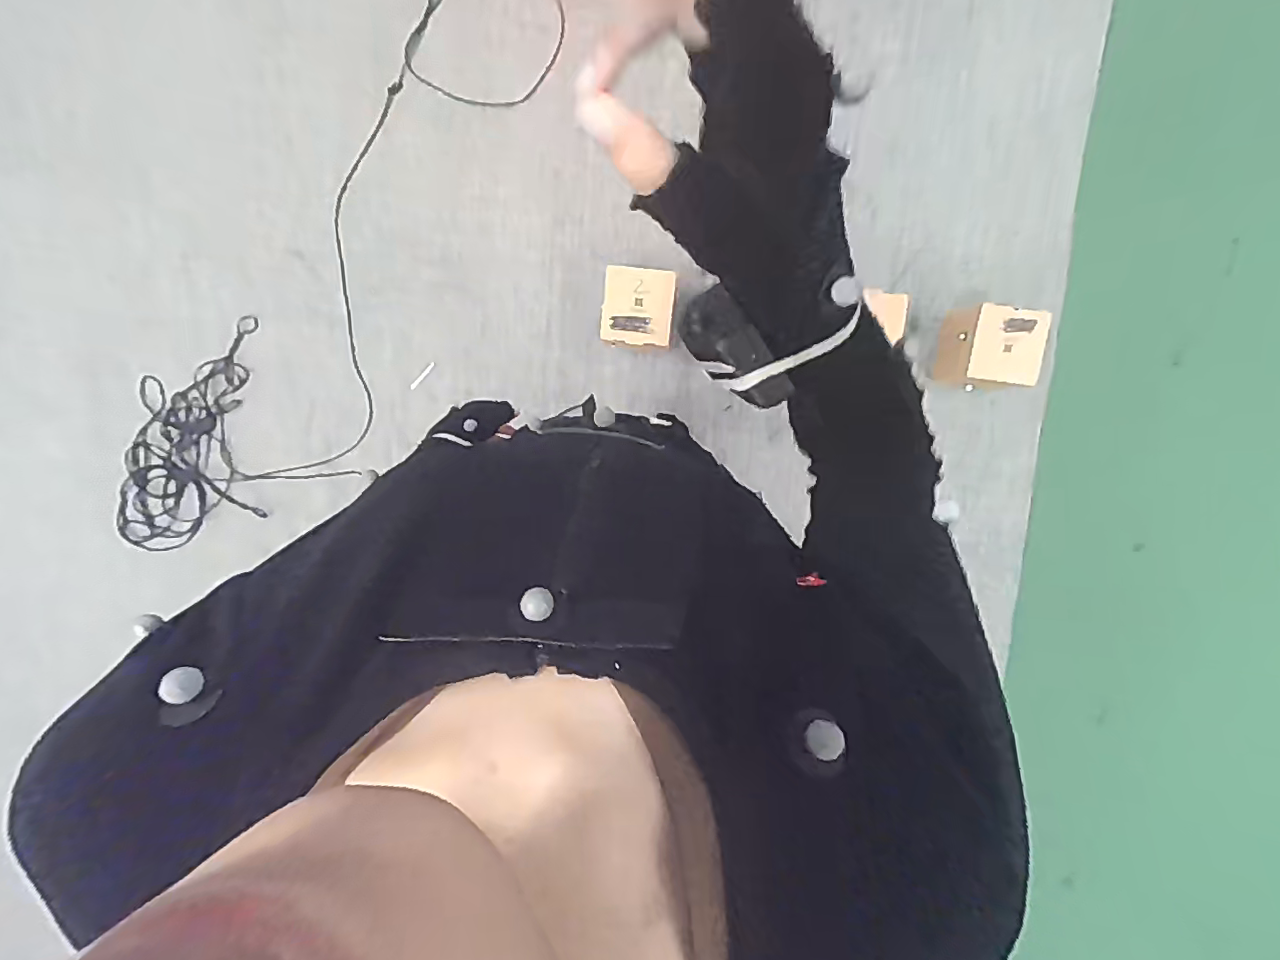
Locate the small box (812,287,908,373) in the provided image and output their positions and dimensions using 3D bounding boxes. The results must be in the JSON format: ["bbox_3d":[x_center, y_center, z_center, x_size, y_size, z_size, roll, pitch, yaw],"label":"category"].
[{"bbox_3d":[0.536,-0.363,1.340,0.168,0.176,0.179,4,96,1],"label":"small box"}]

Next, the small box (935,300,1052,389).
[{"bbox_3d":[0.860,-0.328,1.334,0.168,0.176,0.179,8,97,1],"label":"small box"}]

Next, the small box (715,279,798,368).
[{"bbox_3d":[0.281,-0.381,1.341,0.168,0.176,0.179,6,96,2],"label":"small box"}]
